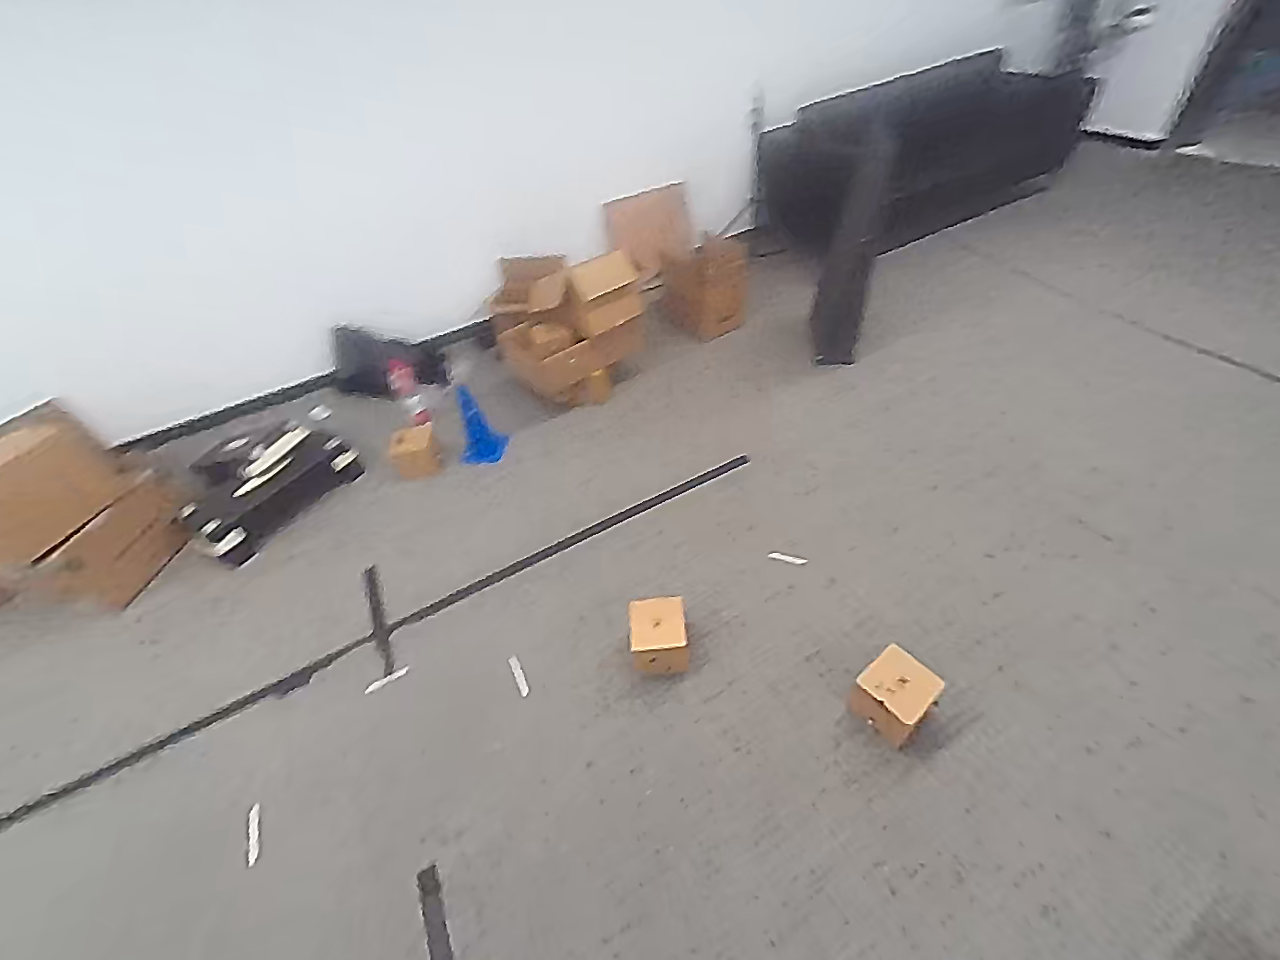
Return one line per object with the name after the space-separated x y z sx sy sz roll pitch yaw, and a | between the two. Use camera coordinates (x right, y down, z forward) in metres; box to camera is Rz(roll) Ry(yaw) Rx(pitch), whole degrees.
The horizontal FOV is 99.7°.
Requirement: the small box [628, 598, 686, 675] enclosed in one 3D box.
0.054 0.500 1.706 0.168 0.176 0.179 -6 43 2 | small box

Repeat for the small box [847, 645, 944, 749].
0.700 0.603 1.503 0.179 0.176 0.168 -32 49 -23 | small box
